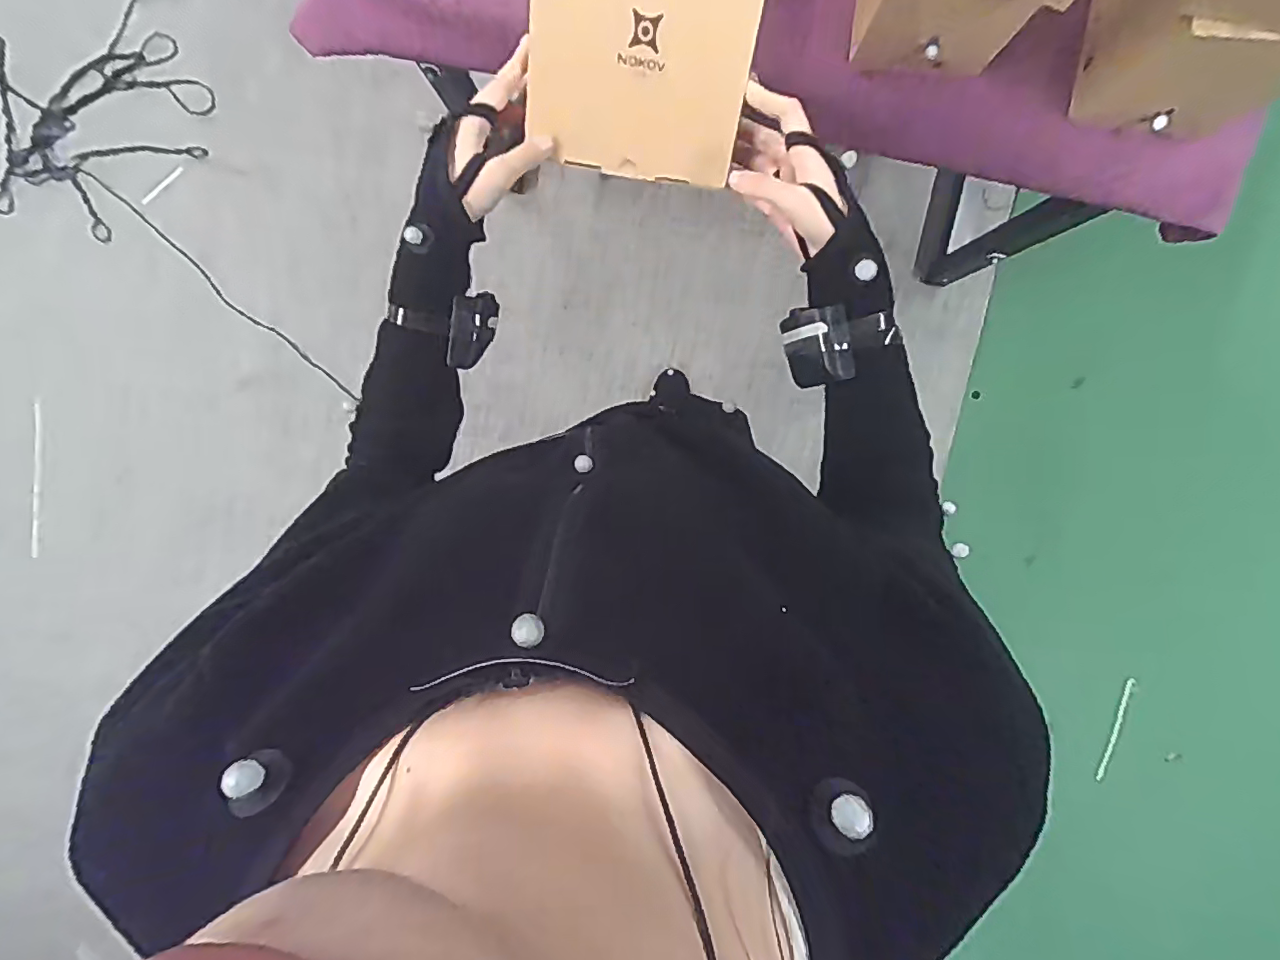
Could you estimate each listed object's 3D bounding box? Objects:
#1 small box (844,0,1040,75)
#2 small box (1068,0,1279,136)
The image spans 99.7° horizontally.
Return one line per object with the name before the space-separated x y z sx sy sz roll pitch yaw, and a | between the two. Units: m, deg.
small box | 0.348 -0.605 0.605 0.168 0.176 0.179 8 102 -1
small box | 0.639 -0.515 0.601 0.179 0.176 0.168 8 96 1
